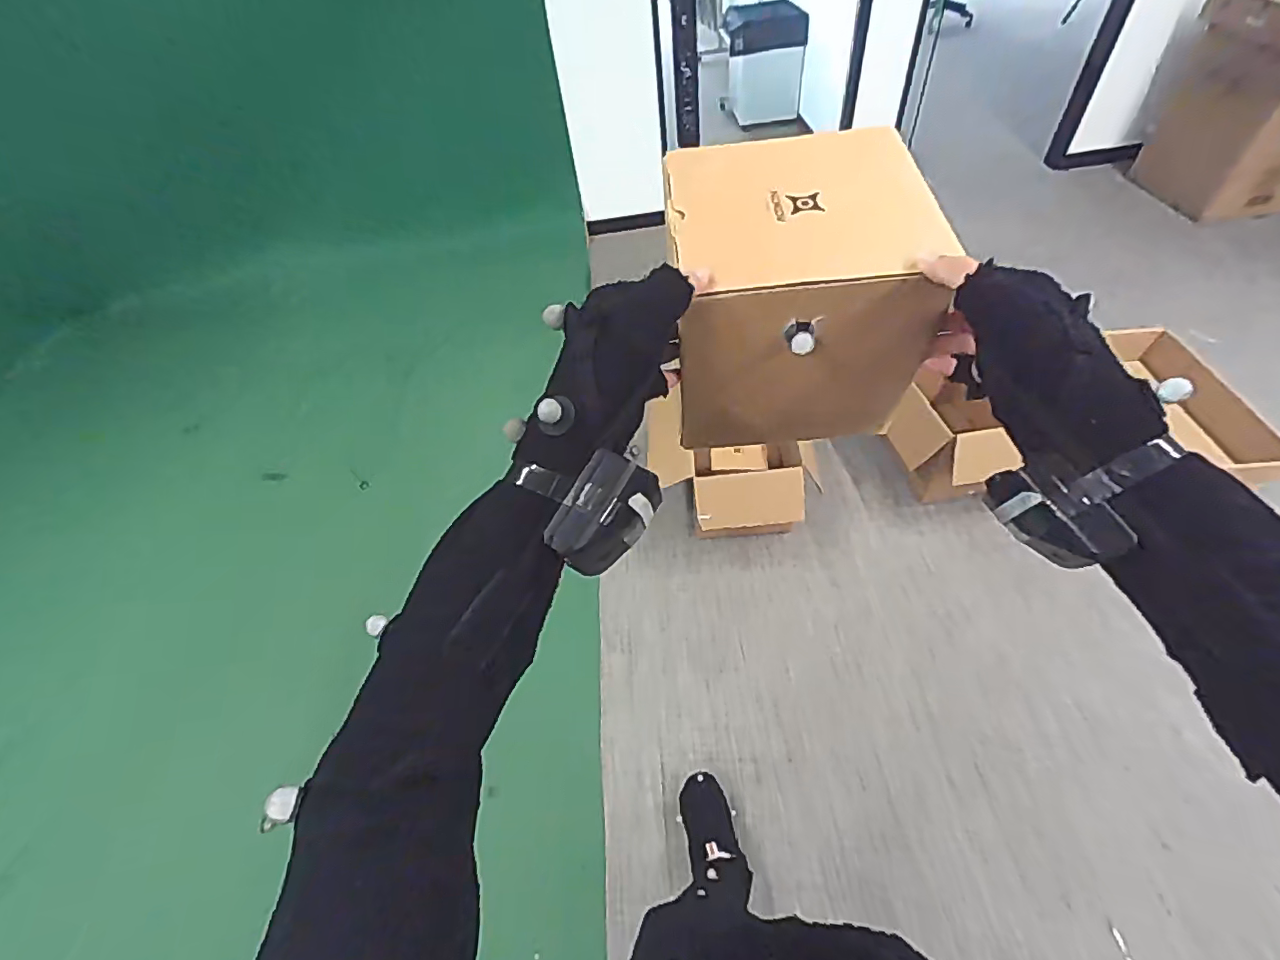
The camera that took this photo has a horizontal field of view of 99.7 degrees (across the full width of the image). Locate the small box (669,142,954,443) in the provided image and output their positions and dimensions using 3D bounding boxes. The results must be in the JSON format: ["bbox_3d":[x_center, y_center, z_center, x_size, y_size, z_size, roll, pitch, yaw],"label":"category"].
[{"bbox_3d":[0.116,-0.147,0.453,0.179,0.176,0.168,-5,58,3],"label":"small box"}]
